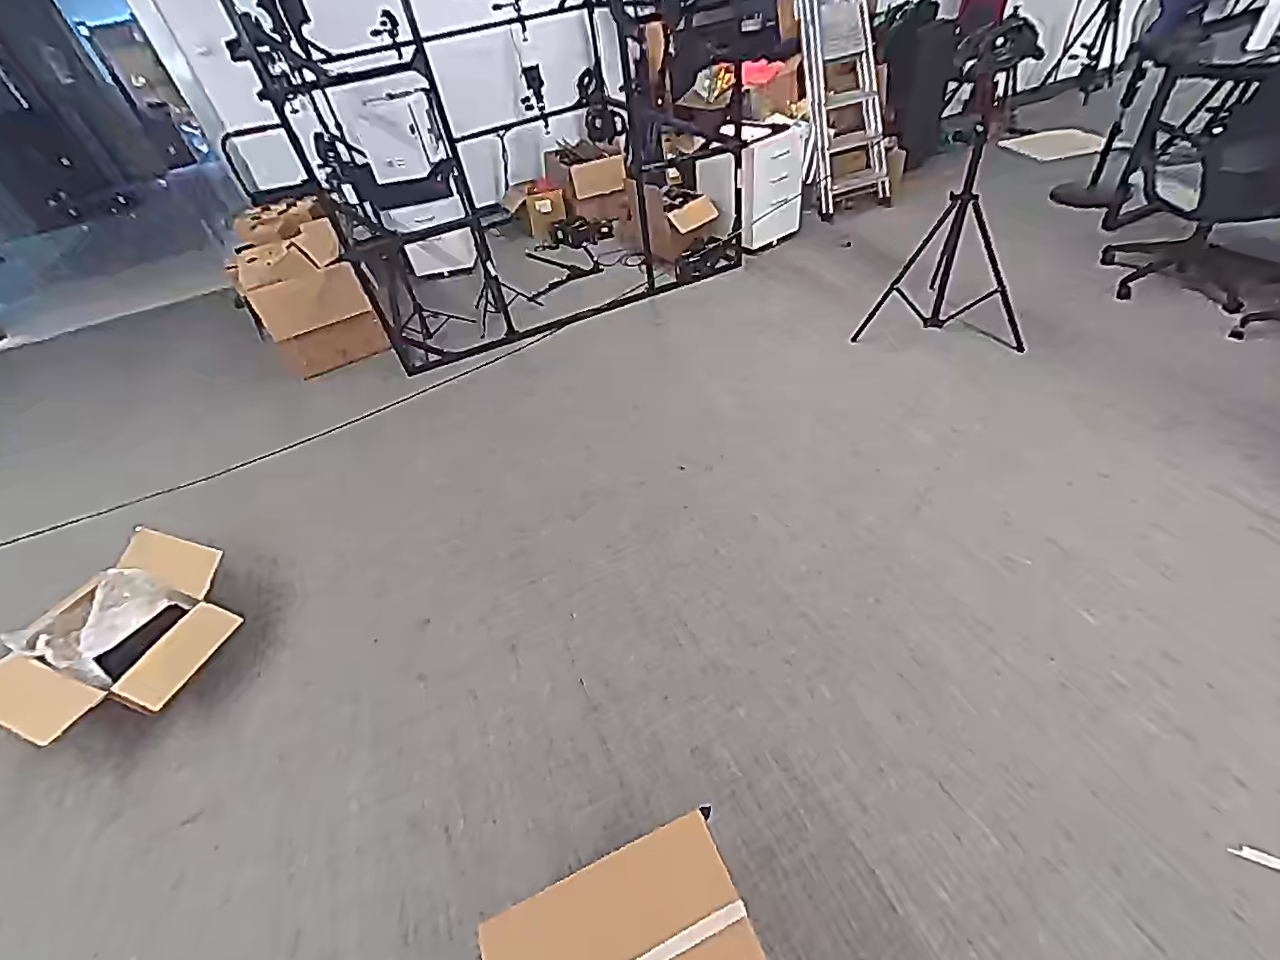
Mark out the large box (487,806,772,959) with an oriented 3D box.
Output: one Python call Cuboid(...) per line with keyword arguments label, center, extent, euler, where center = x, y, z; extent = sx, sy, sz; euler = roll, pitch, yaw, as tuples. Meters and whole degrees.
Cuboid(label="large box", center=(0.007, 0.849, 0.916), extent=(0.408, 0.320, 0.320), euler=(-22, 45, -11))
